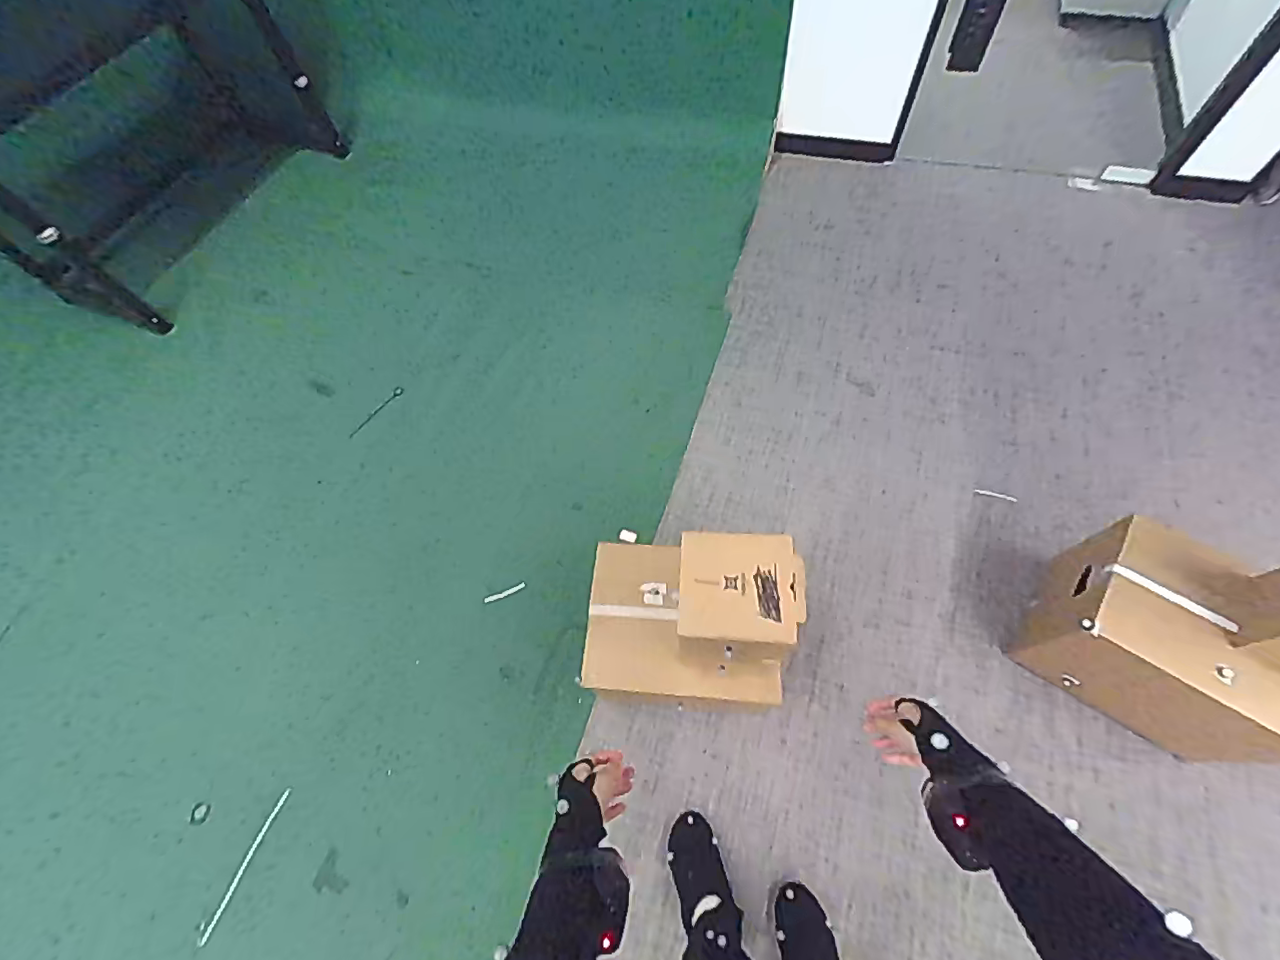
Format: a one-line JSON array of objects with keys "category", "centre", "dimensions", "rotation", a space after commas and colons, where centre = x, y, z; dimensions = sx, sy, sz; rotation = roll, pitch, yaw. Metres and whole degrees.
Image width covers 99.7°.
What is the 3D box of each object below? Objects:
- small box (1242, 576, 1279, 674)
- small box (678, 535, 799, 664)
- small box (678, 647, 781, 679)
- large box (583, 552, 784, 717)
[{"category": "small box", "centre": [1.225, 0.261, 0.941], "dimensions": [0.168, 0.176, 0.179], "rotation": [33, 68, 20]}, {"category": "small box", "centre": [0.156, 0.200, 0.883], "dimensions": [0.179, 0.176, 0.168], "rotation": [2, 63, 8]}, {"category": "small box", "centre": [0.170, 0.275, 1.029], "dimensions": [0.179, 0.176, 0.168], "rotation": [6, 63, 8]}, {"category": "large box", "centre": [0.108, 0.369, 1.264], "dimensions": [0.408, 0.320, 0.320], "rotation": [2, 62, 8]}]
